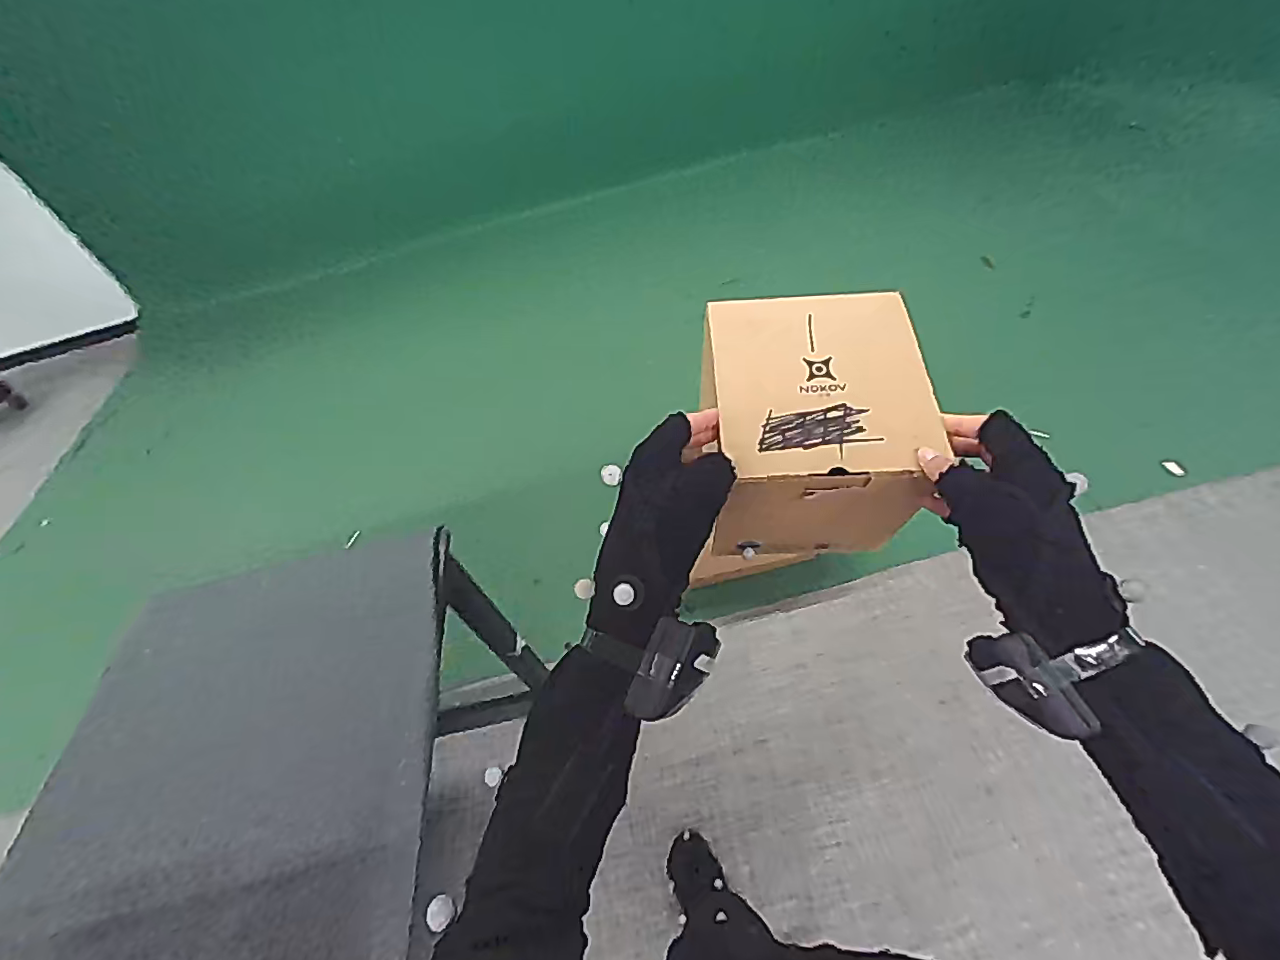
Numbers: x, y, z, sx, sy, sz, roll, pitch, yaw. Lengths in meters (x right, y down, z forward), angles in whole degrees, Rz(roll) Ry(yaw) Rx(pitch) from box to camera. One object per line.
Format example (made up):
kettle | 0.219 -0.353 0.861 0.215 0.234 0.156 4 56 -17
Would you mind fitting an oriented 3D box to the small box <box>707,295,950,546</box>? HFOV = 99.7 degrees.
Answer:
small box | 0.150 -0.043 0.502 0.168 0.176 0.179 -1 62 3
